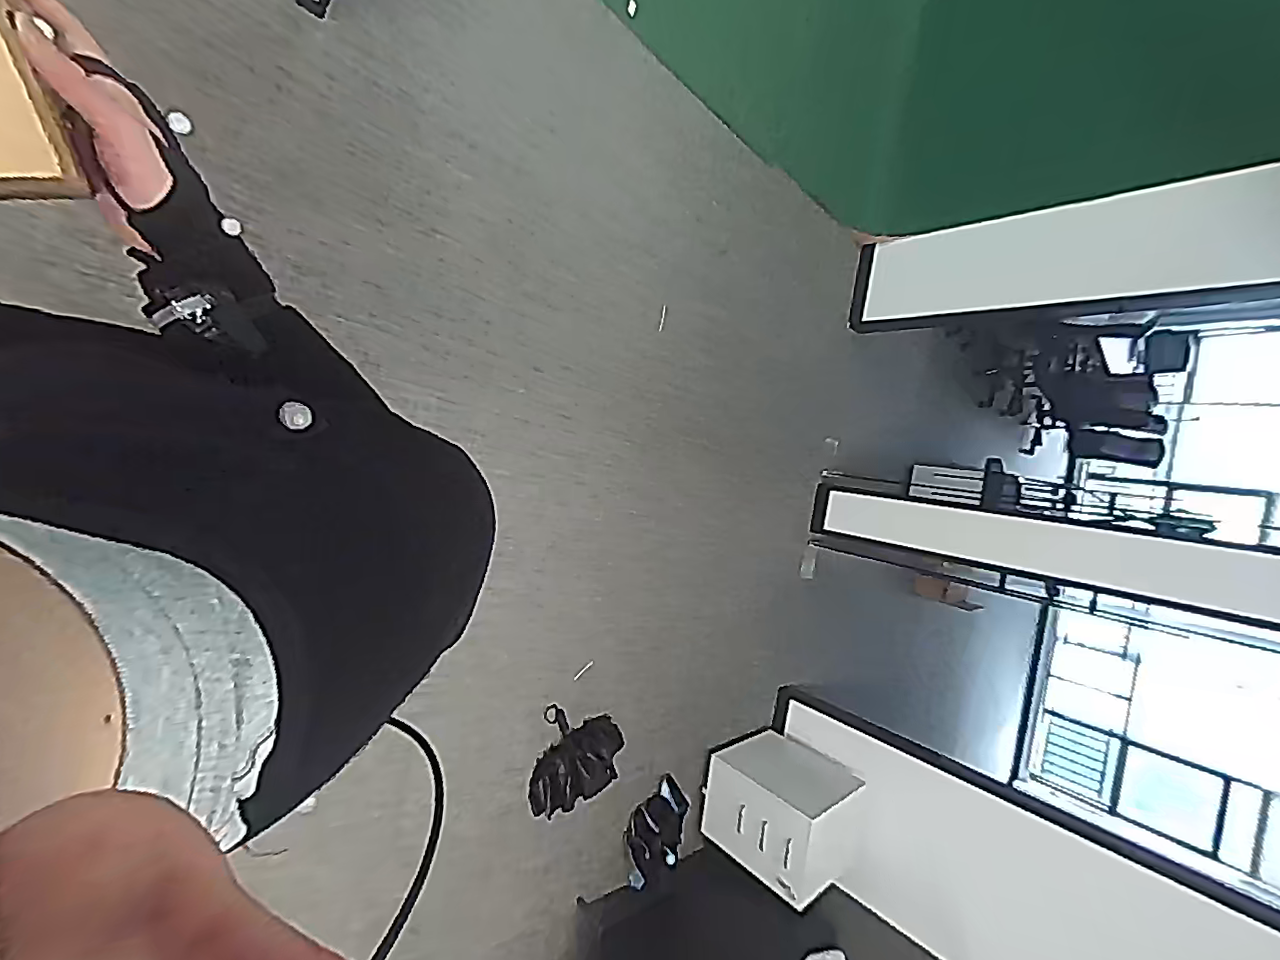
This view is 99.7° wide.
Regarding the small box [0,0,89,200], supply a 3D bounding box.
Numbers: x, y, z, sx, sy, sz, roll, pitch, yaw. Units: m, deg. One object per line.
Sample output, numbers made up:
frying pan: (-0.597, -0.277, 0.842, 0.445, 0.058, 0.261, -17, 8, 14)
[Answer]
small box: (-0.413, -0.235, 0.257, 0.168, 0.176, 0.179, -21, 122, -33)
